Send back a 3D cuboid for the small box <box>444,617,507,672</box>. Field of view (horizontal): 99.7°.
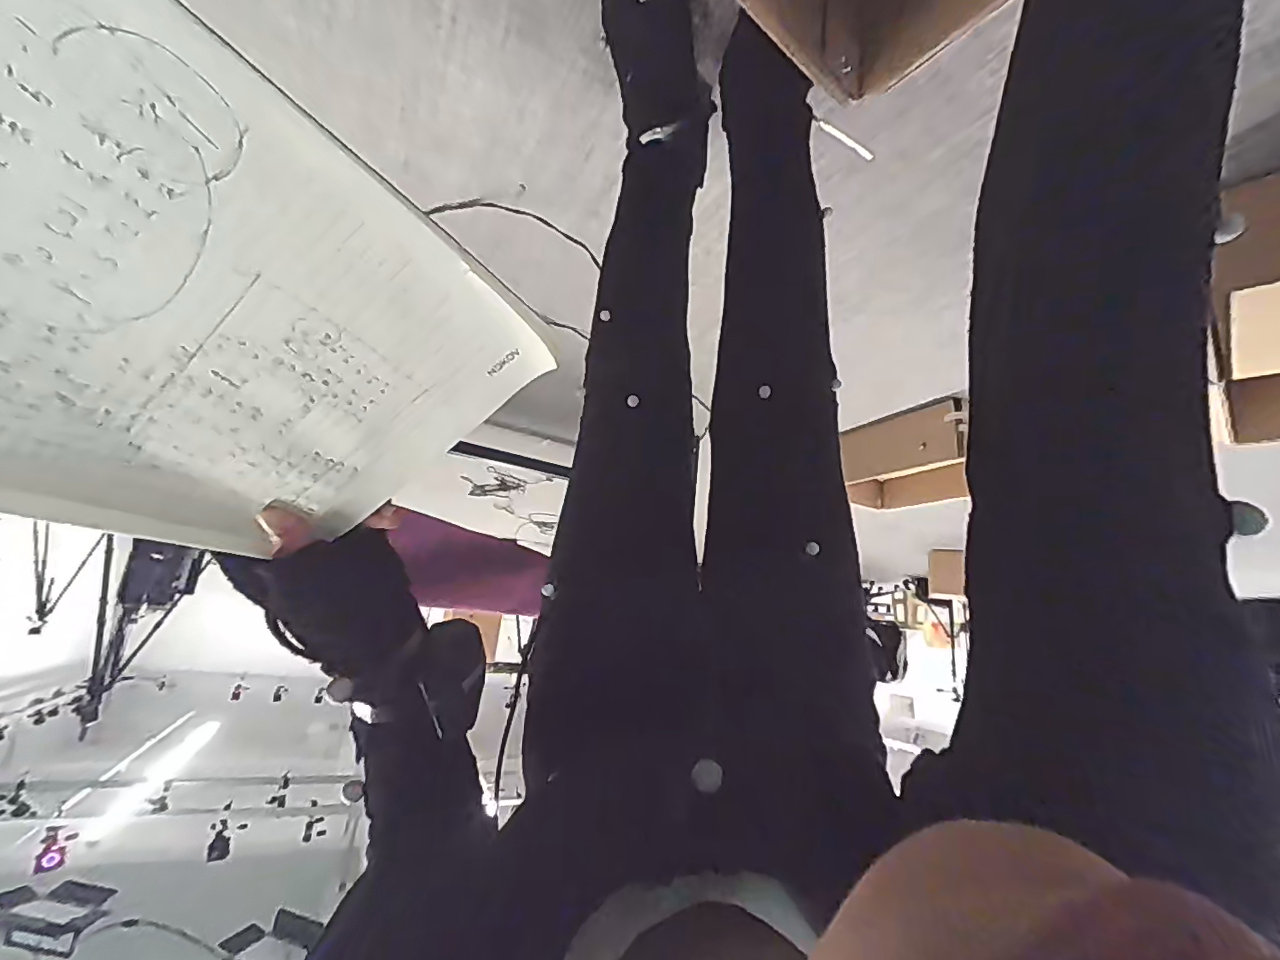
[{"bbox_3d":[-0.563,0.561,1.856,0.168,0.176,0.179,13,163,-26],"label":"small box"}]
